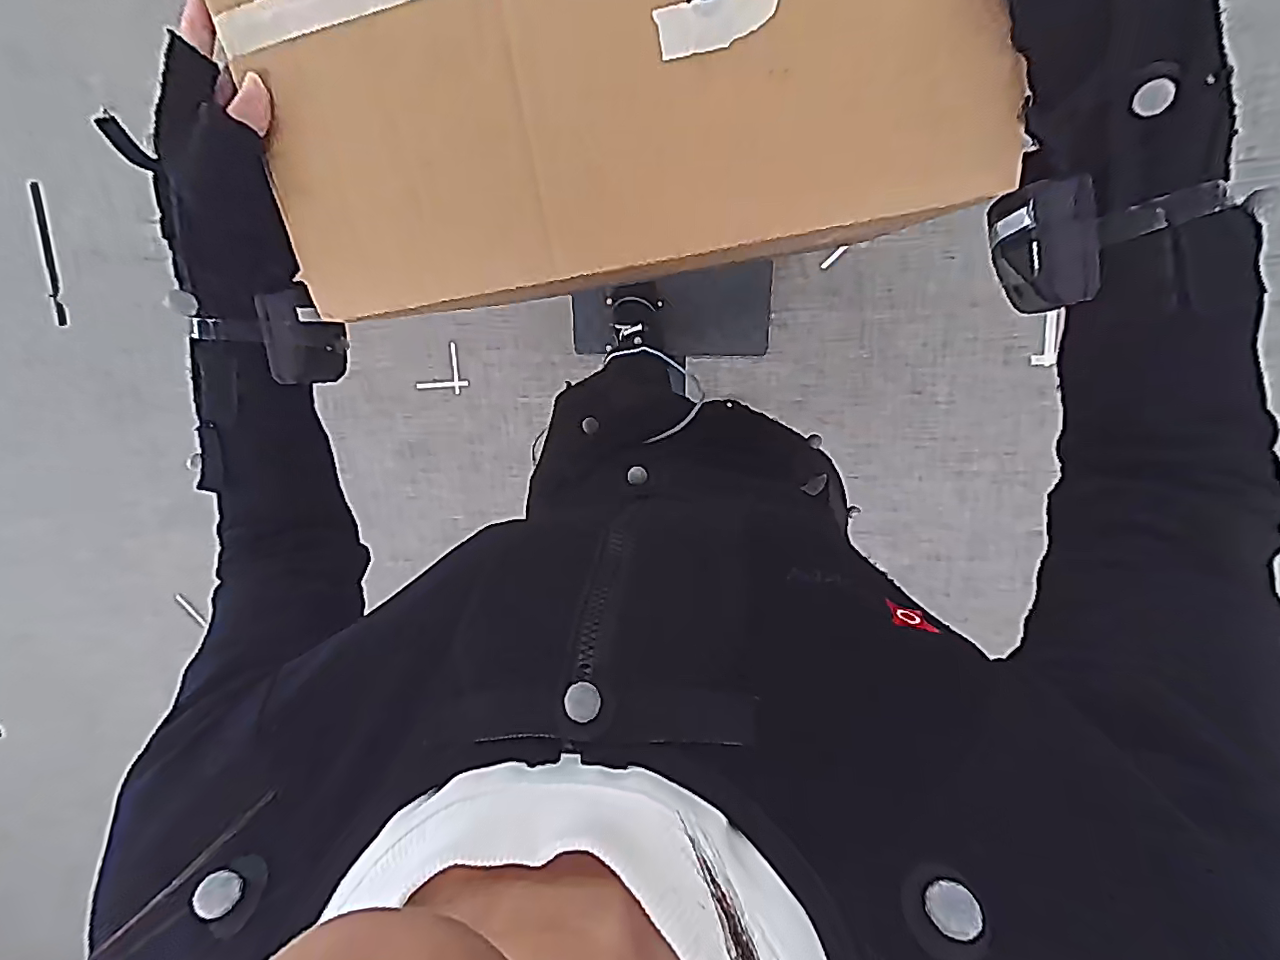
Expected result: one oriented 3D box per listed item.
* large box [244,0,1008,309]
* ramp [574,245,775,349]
[{"bbox_3d":[-0.010,-0.329,0.410,0.408,0.320,0.320,-6,109,12],"label":"large box"},{"bbox_3d":[0.070,-0.796,1.189,0.509,0.206,0.991,1,103,8],"label":"ramp"}]
